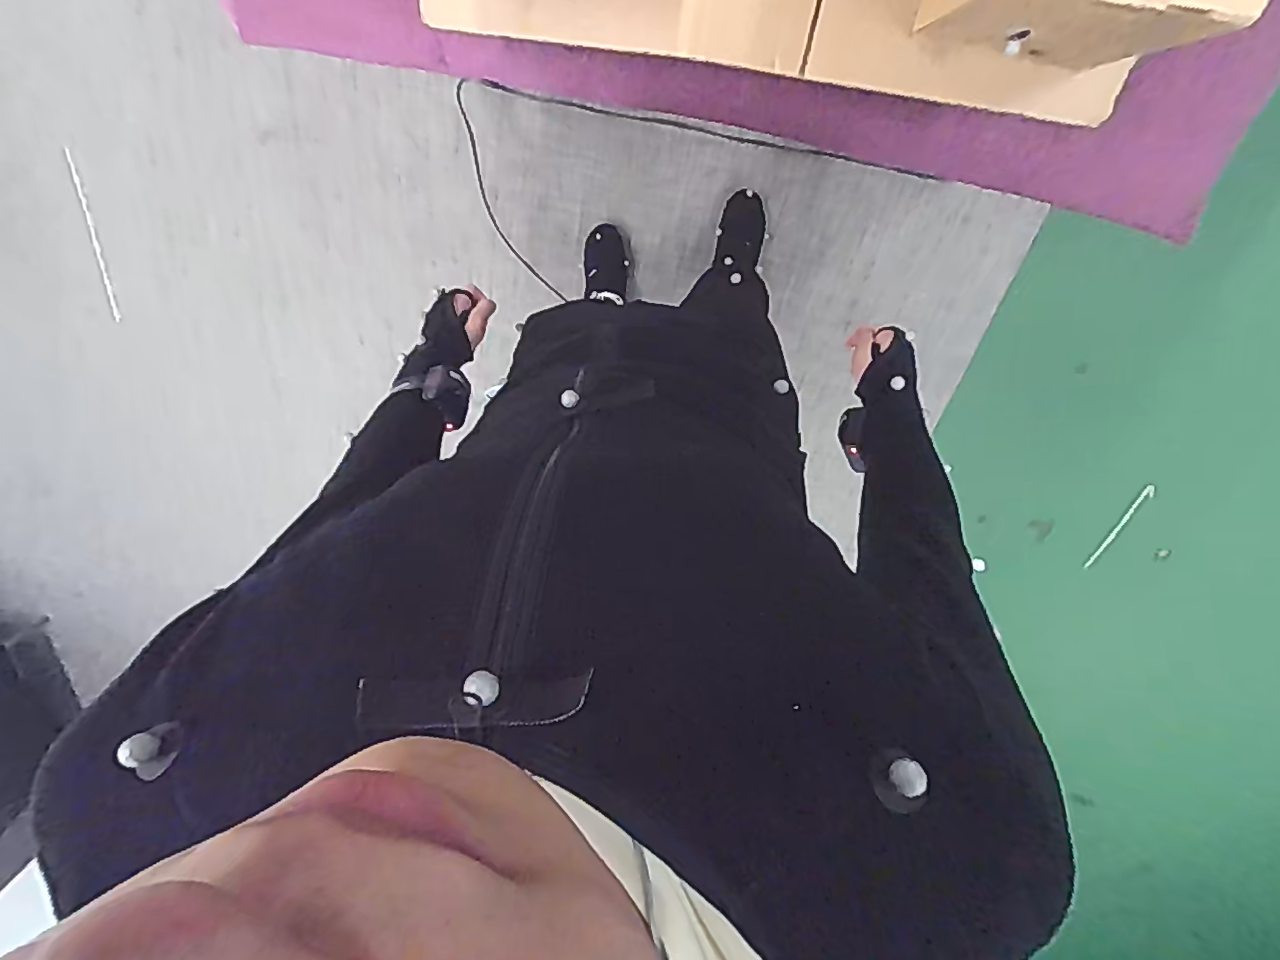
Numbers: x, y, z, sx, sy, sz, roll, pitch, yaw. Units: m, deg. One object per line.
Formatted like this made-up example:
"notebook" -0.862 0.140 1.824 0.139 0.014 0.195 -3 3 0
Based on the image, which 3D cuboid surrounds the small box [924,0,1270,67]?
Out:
"small box" 0.331 -0.416 0.372 0.168 0.176 0.179 9 121 -1
